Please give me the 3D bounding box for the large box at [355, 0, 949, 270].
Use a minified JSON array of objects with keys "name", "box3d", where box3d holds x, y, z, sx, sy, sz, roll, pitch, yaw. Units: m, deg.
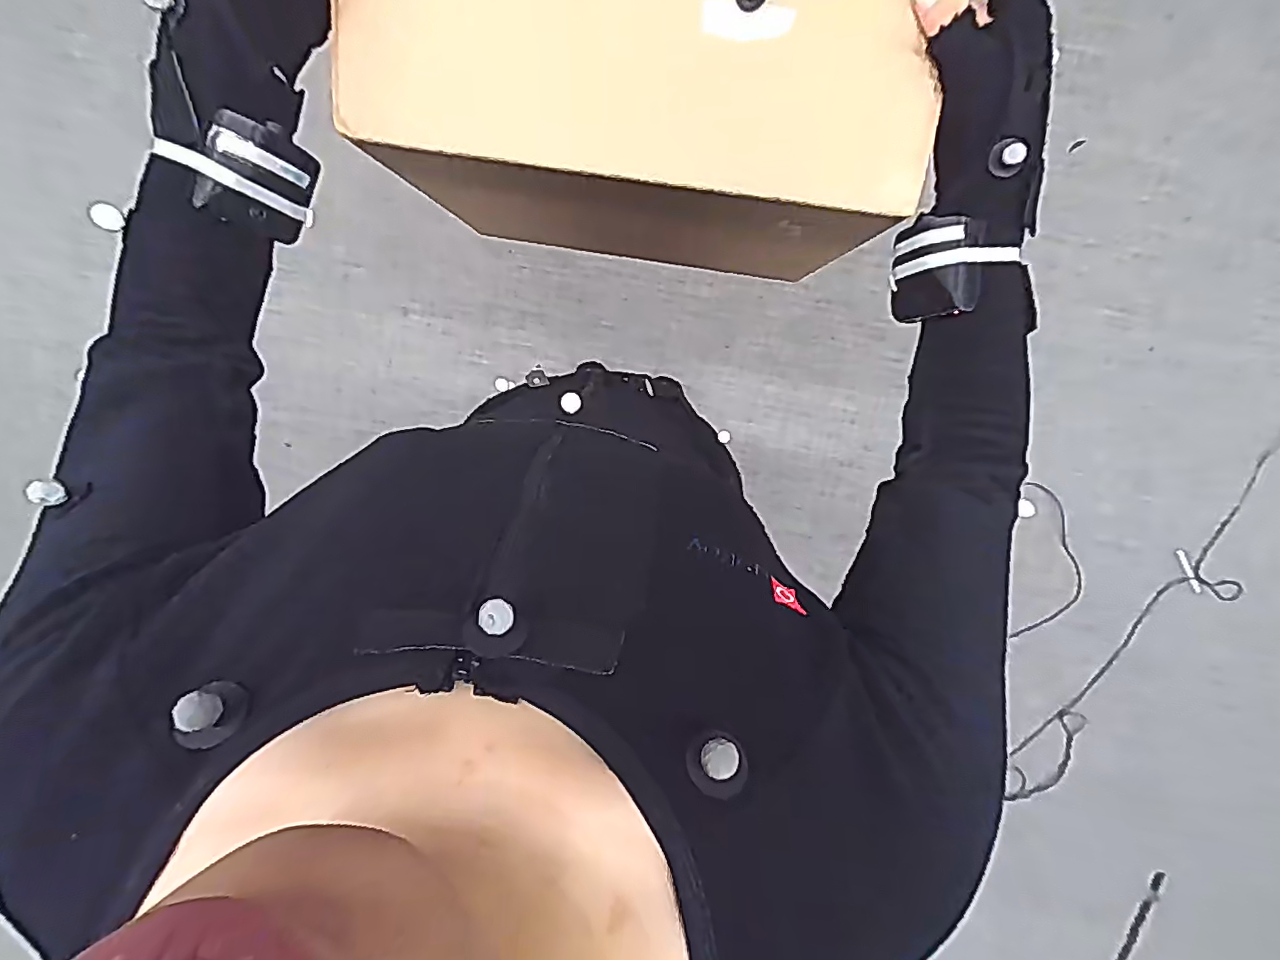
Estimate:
[{"name":"large box","box3d":[0.015,-0.400,0.498,0.408,0.320,0.320,8,103,-1]}]
